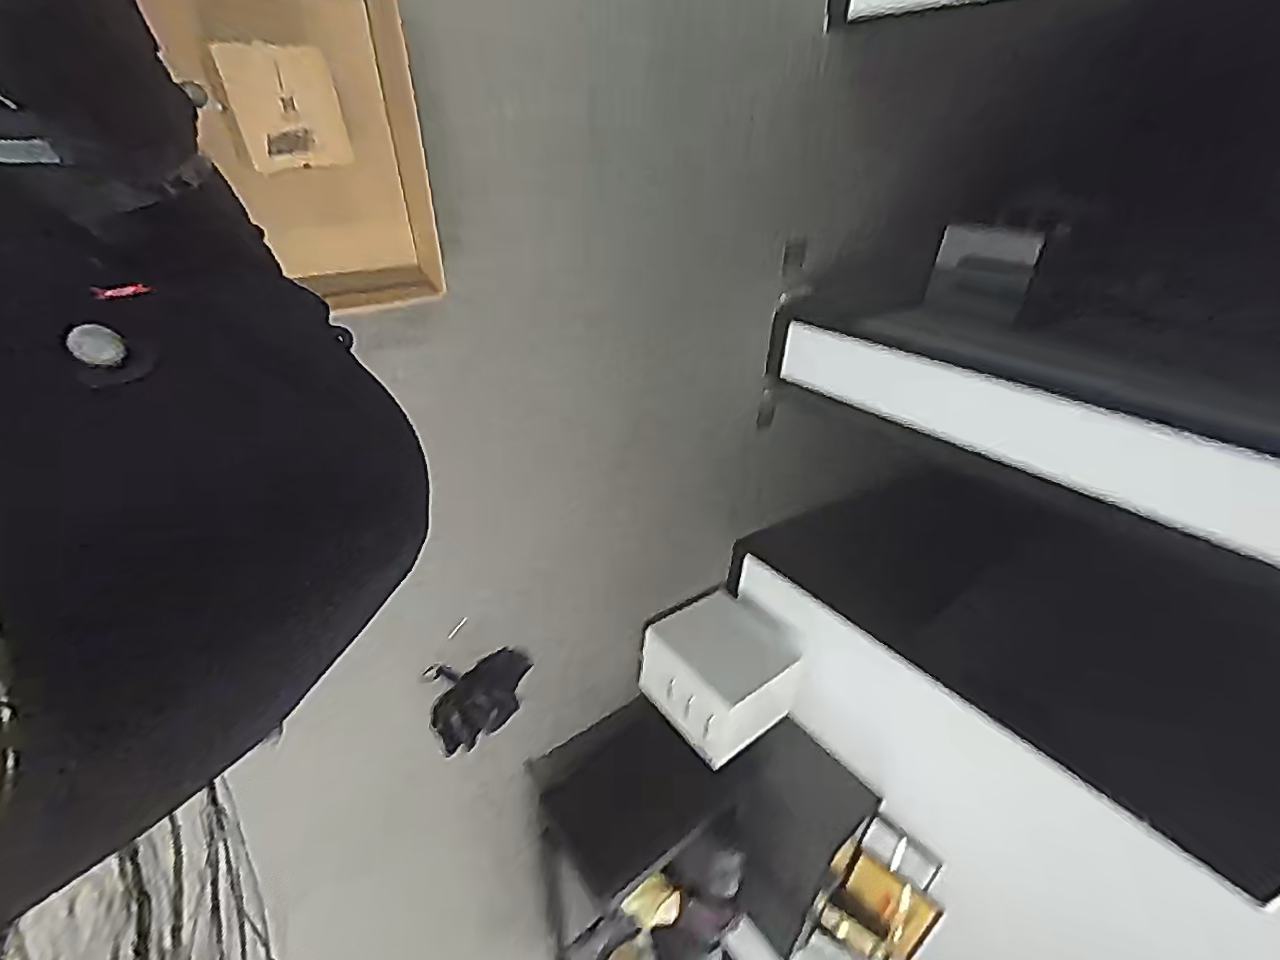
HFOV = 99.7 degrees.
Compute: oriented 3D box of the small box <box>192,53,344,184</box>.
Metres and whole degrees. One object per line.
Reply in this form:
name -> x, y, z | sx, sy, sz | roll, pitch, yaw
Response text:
small box -> -0.655, -0.632, 0.957 | 0.168, 0.176, 0.179 | -25, 129, -32
